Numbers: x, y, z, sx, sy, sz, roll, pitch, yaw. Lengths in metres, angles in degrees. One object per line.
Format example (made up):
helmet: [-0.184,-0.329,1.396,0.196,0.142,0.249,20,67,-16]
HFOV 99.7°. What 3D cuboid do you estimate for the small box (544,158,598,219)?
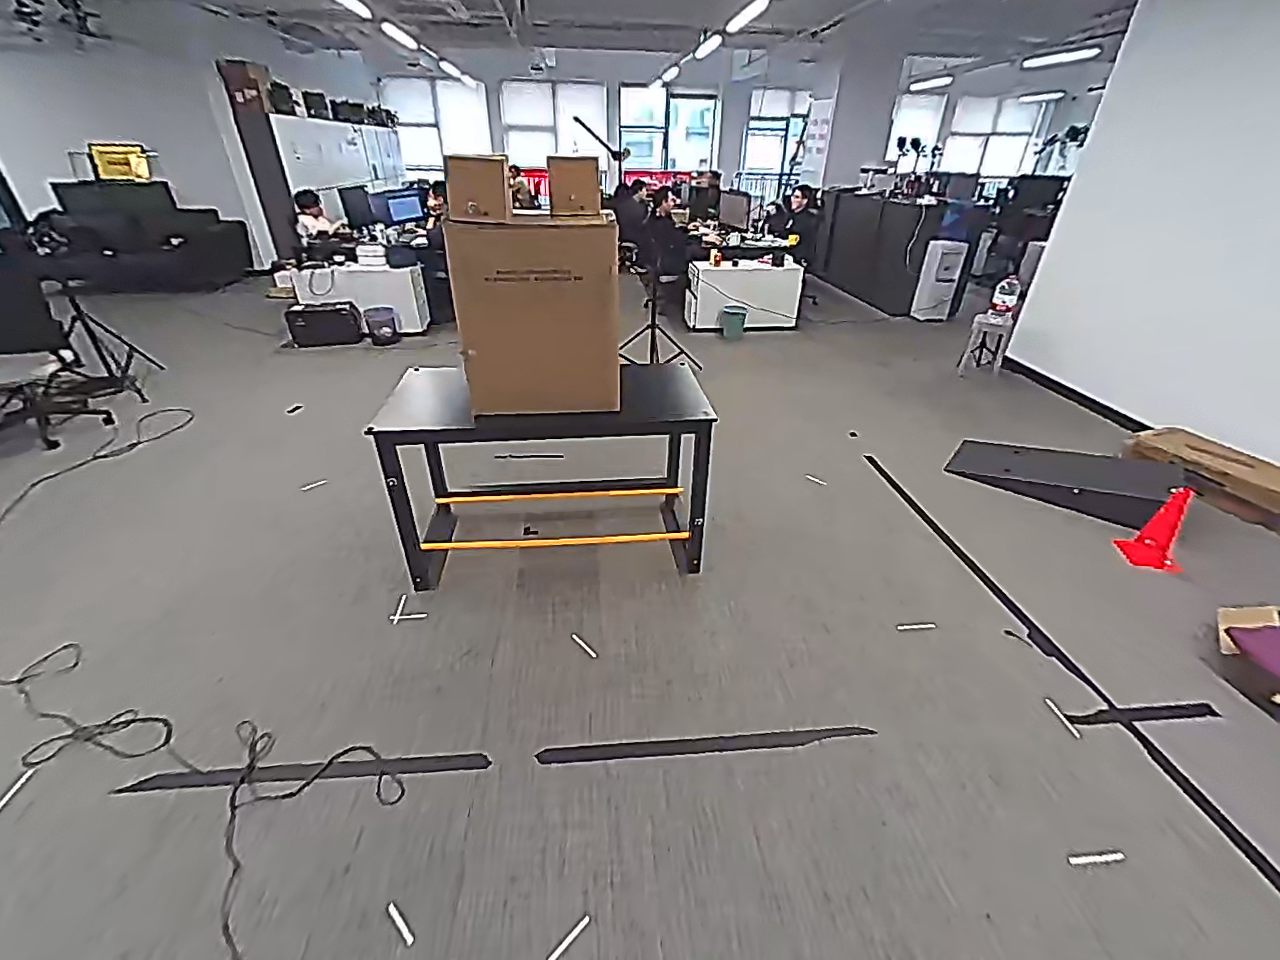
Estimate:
small box: [-0.230,-0.968,1.793,0.168,0.176,0.179,-5,31,-7]

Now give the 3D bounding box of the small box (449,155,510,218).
small box: [-0.524,-0.971,1.791,0.168,0.176,0.179,-3,30,-8]
